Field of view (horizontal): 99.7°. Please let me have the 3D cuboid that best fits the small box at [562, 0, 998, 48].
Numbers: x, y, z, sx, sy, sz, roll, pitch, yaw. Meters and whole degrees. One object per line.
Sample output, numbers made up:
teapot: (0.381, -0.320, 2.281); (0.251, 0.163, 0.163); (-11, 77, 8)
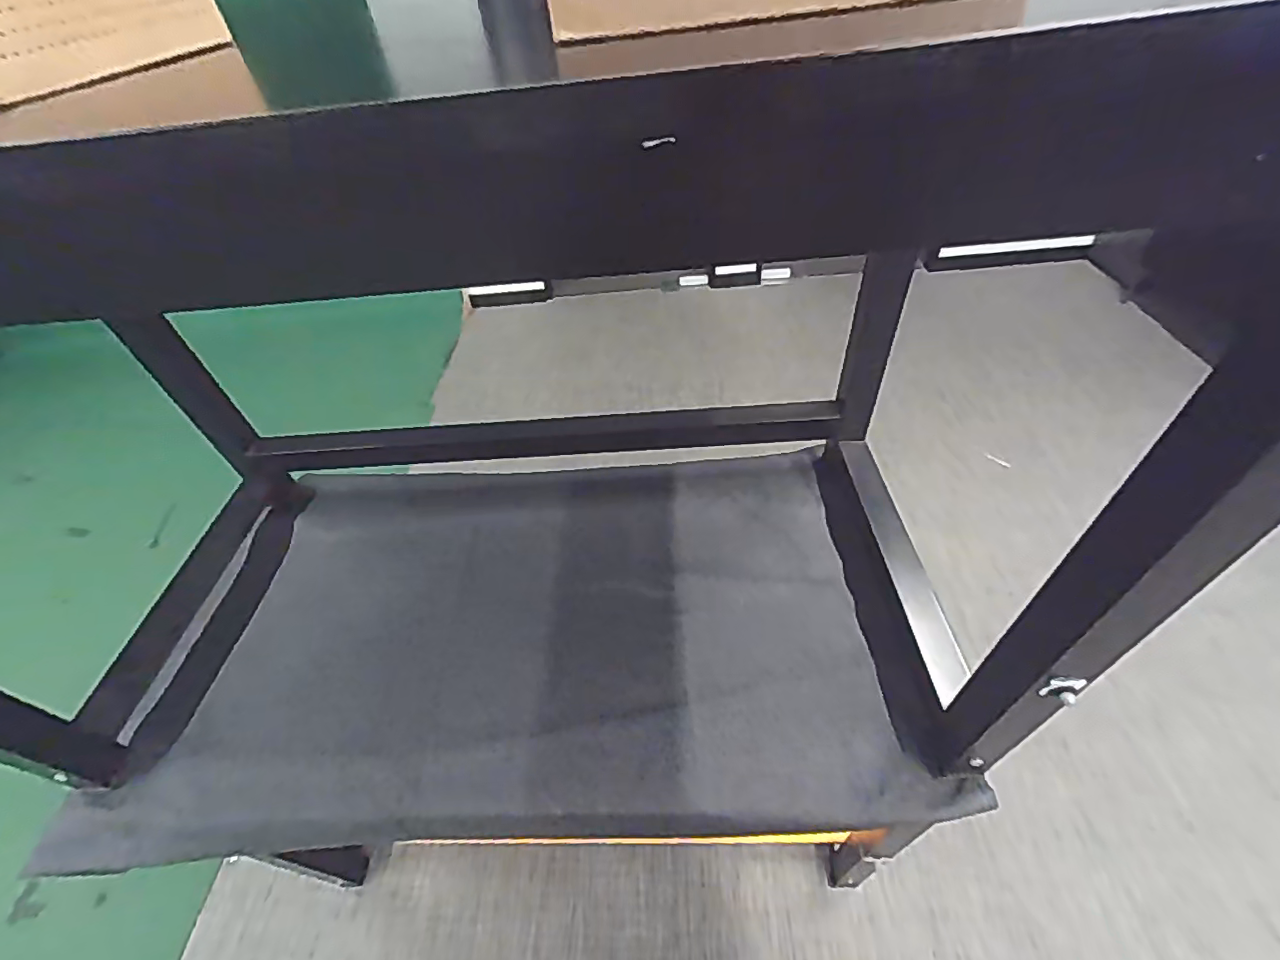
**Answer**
small box: (0.049, -0.272, 0.190); (0.168, 0.176, 0.179); (-2, 46, 5)
